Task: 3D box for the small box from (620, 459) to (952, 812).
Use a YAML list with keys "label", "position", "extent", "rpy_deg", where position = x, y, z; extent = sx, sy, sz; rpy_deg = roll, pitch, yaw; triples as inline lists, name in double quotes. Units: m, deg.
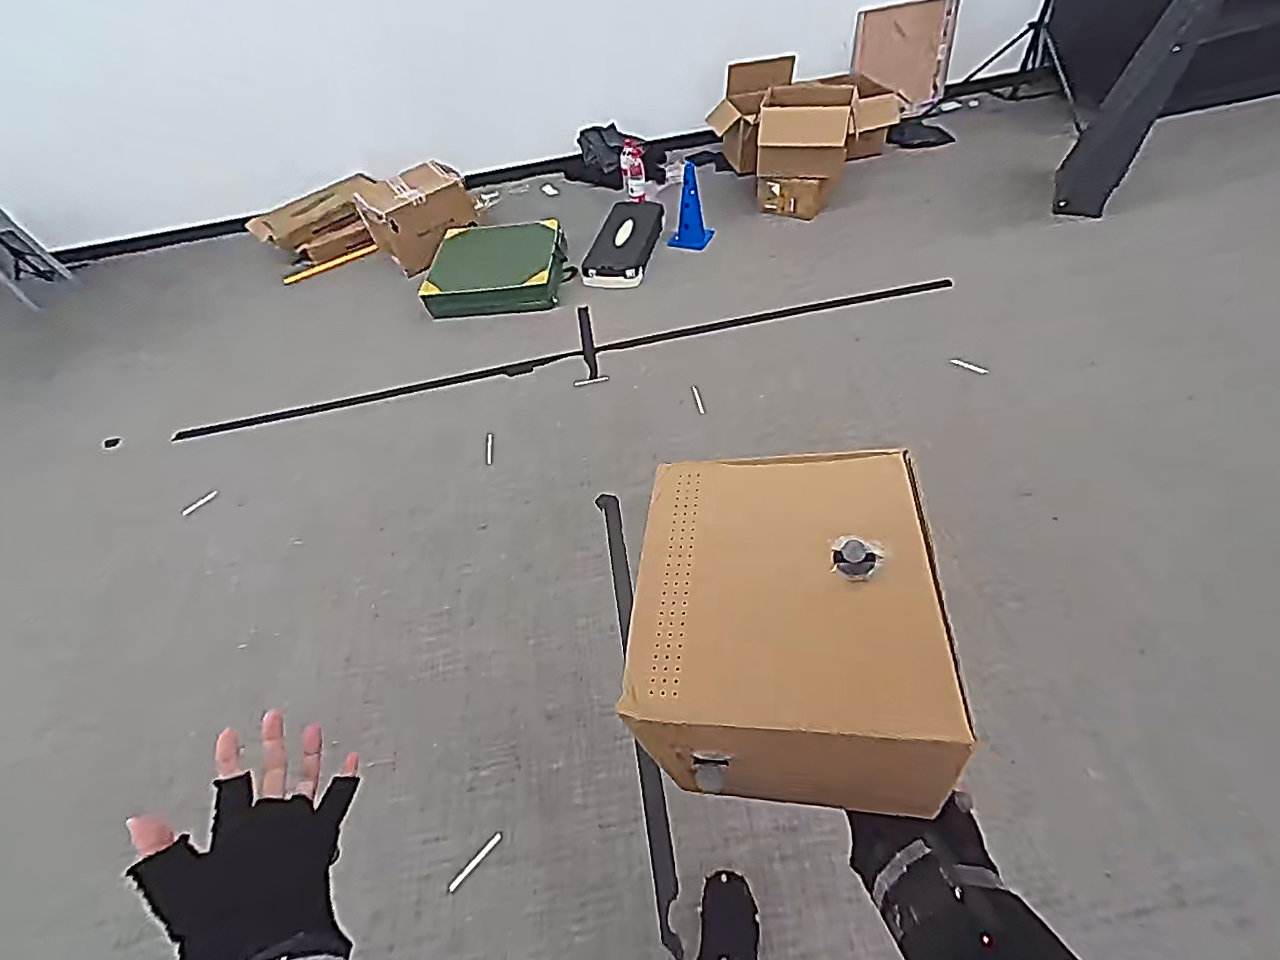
- label: "small box"
  position: [0.094, 0.106, 0.376]
  extent: [0.176, 0.168, 0.179]
  rpy_deg: [-4, 48, 18]
